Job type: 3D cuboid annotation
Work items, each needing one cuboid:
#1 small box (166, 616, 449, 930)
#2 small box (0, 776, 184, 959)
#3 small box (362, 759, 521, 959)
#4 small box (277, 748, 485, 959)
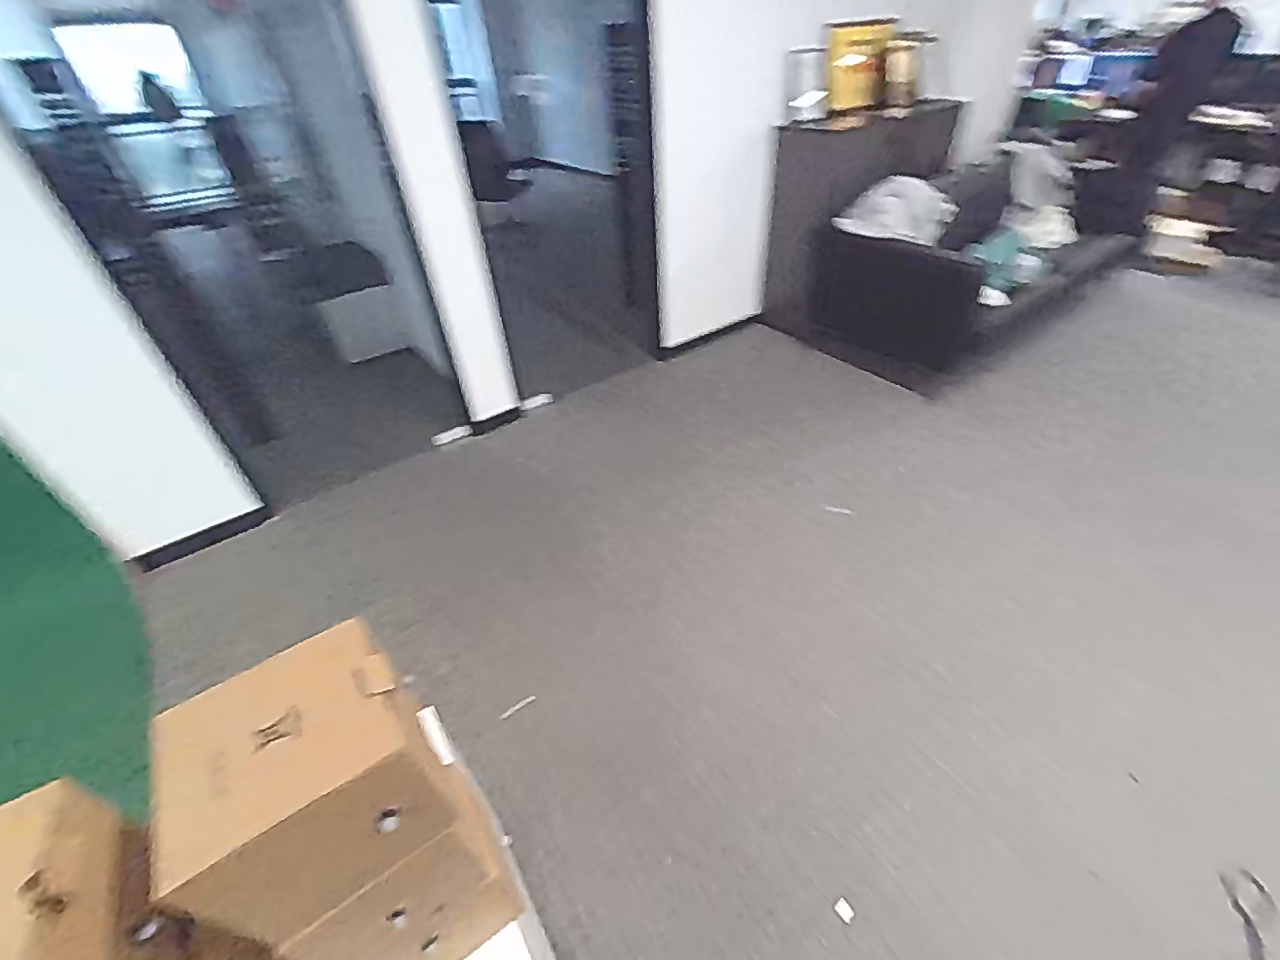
[{"bbox_3d":[-0.301,0.273,0.517,0.179,0.176,0.168,-27,45,-24],"label":"small box"},{"bbox_3d":[-0.491,0.378,0.406,0.179,0.176,0.168,-24,44,-25],"label":"small box"},{"bbox_3d":[-0.282,0.526,0.724,0.179,0.176,0.168,-25,45,-23],"label":"small box"},{"bbox_3d":[-0.298,0.401,0.619,0.168,0.176,0.179,-27,45,-25],"label":"small box"}]
